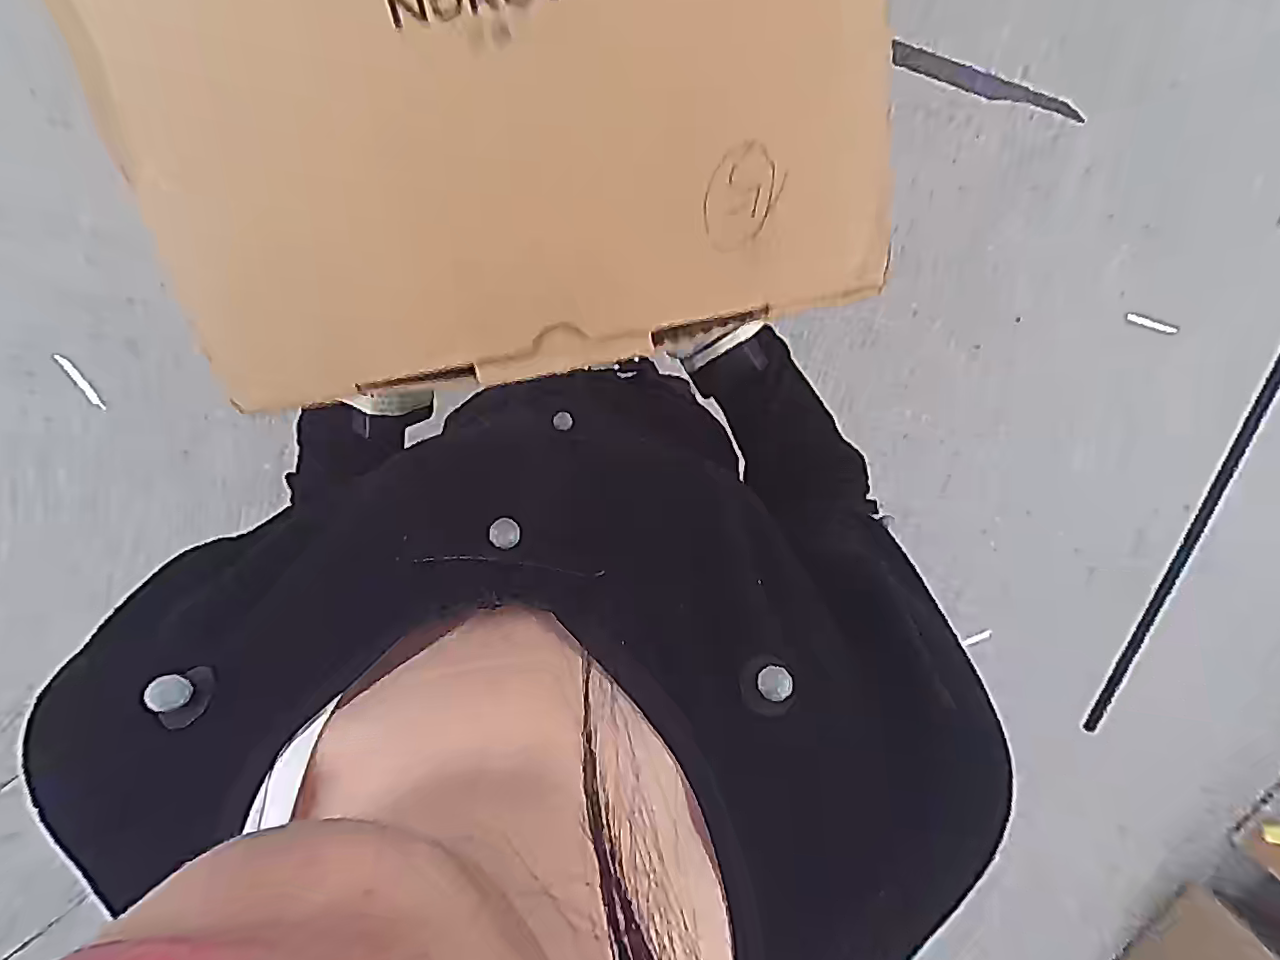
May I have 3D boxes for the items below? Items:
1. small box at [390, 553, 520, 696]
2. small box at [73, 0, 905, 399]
[{"bbox_3d":[-0.330,0.257,1.000,0.168,0.176,0.179,19,102,-7],"label":"small box"},{"bbox_3d":[-0.035,-0.140,0.179,0.168,0.176,0.179,-11,109,0],"label":"small box"}]
